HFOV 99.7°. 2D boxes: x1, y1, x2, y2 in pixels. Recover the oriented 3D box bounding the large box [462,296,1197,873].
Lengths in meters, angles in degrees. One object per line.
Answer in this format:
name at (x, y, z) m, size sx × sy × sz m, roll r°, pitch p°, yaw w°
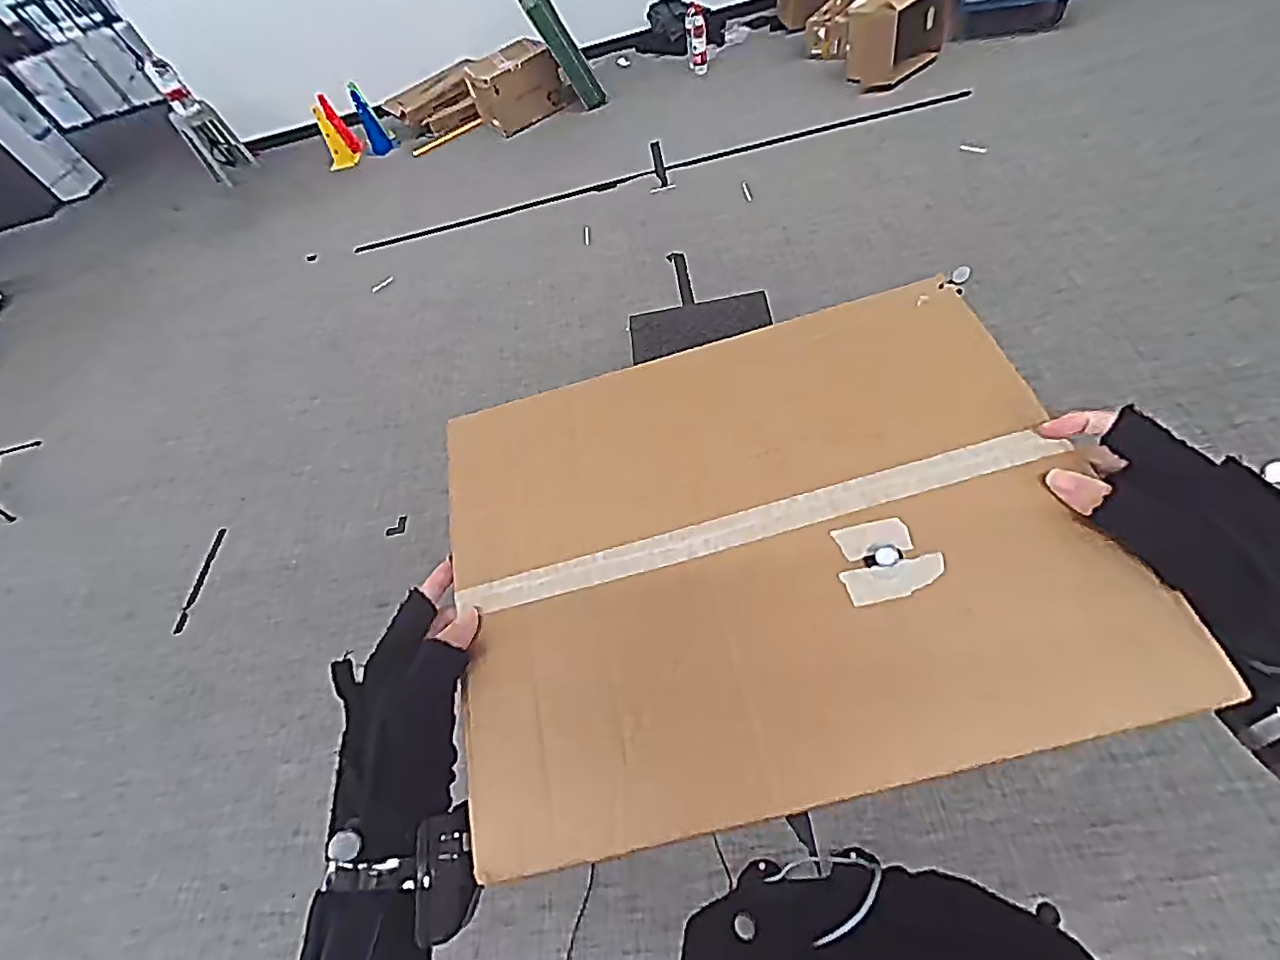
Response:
large box at (0.100, 0.104, 0.496) m, size 0.408 × 0.320 × 0.320 m, roll -16°, pitch 62°, yaw 2°
